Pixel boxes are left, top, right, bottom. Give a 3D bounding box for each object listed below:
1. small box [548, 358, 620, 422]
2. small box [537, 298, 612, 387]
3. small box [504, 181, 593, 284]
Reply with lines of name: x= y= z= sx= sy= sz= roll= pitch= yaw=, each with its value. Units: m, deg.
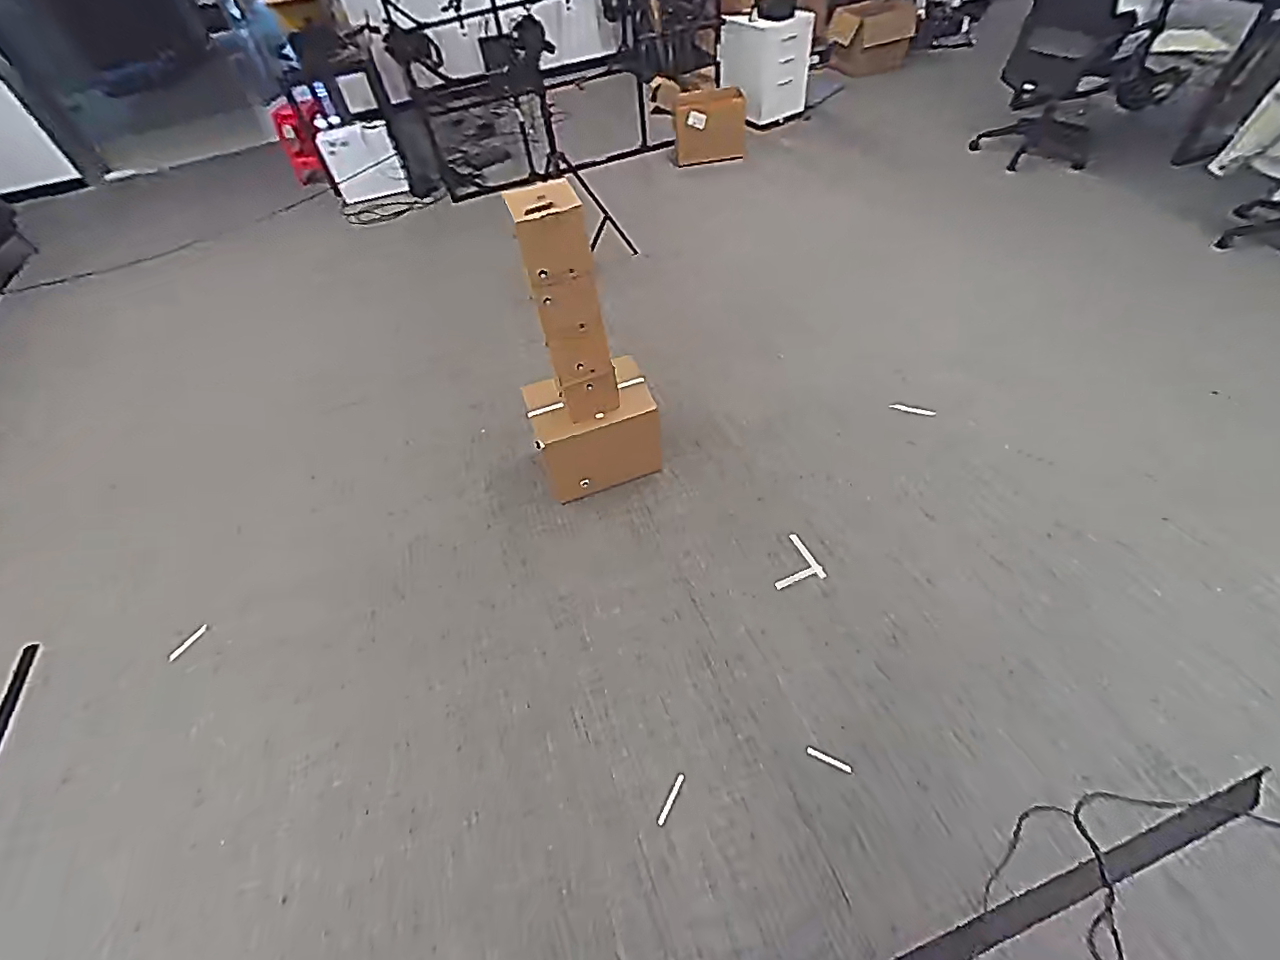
small box: x=-0.177 y=-0.313 z=1.742 sx=0.179 sy=0.176 sz=0.168 roll=-20 pitch=52 yaw=-10
small box: x=-0.195 y=-0.408 z=1.611 sx=0.168 sy=0.176 sz=0.179 roll=-20 pitch=52 yaw=-9
small box: x=-0.226 y=-0.612 z=1.355 sx=0.168 sy=0.176 sz=0.179 roll=-18 pitch=51 yaw=-8
